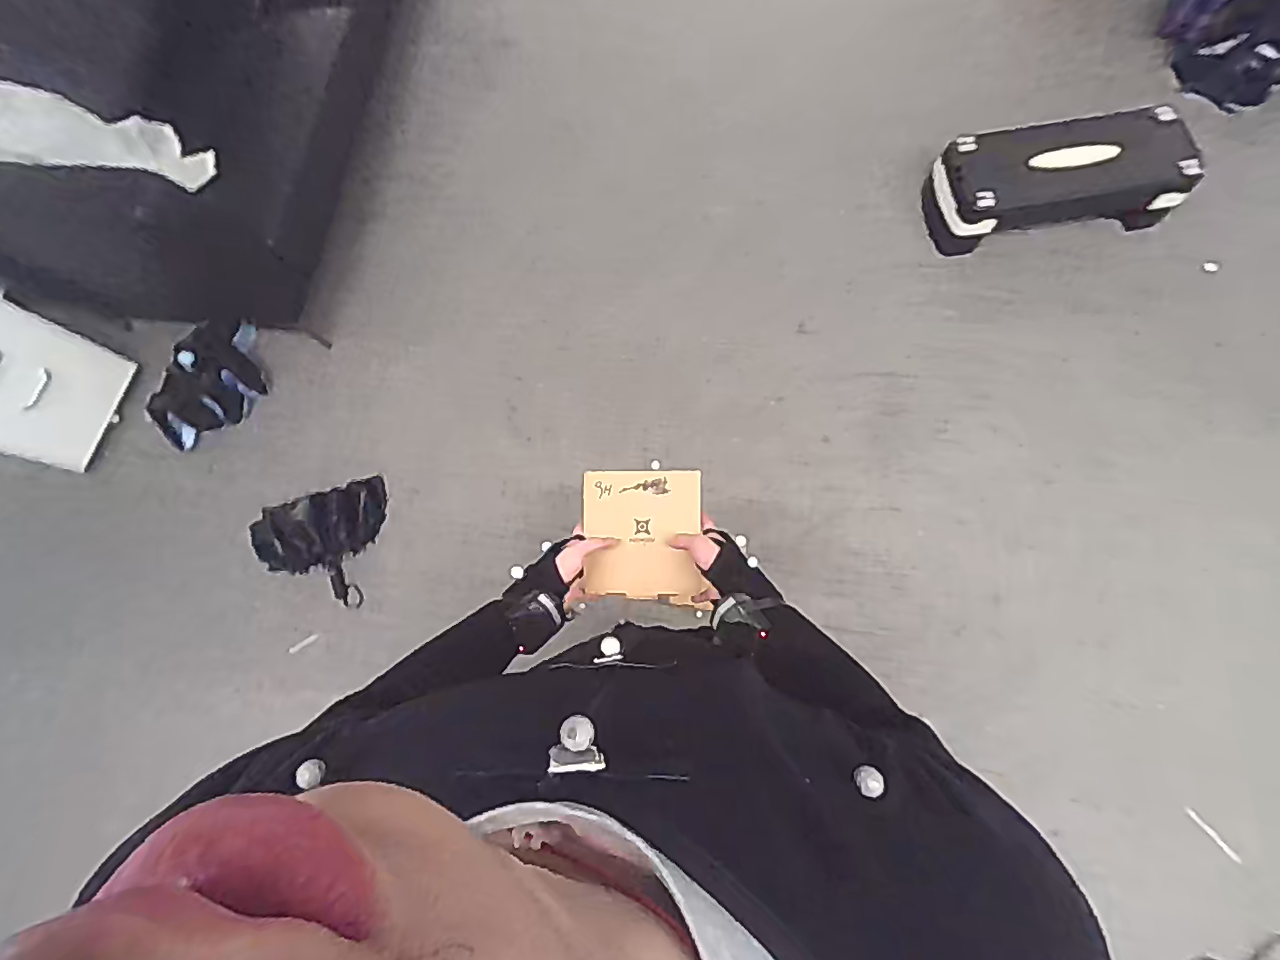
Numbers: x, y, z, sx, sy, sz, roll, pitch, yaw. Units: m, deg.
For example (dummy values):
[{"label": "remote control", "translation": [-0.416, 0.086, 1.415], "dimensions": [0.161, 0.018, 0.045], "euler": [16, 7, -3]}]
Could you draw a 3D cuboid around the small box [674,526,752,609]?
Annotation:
[{"label": "small box", "translation": [0.177, 0.218, 1.319], "dimensions": [0.168, 0.176, 0.179], "euler": [5, 75, 7]}]
